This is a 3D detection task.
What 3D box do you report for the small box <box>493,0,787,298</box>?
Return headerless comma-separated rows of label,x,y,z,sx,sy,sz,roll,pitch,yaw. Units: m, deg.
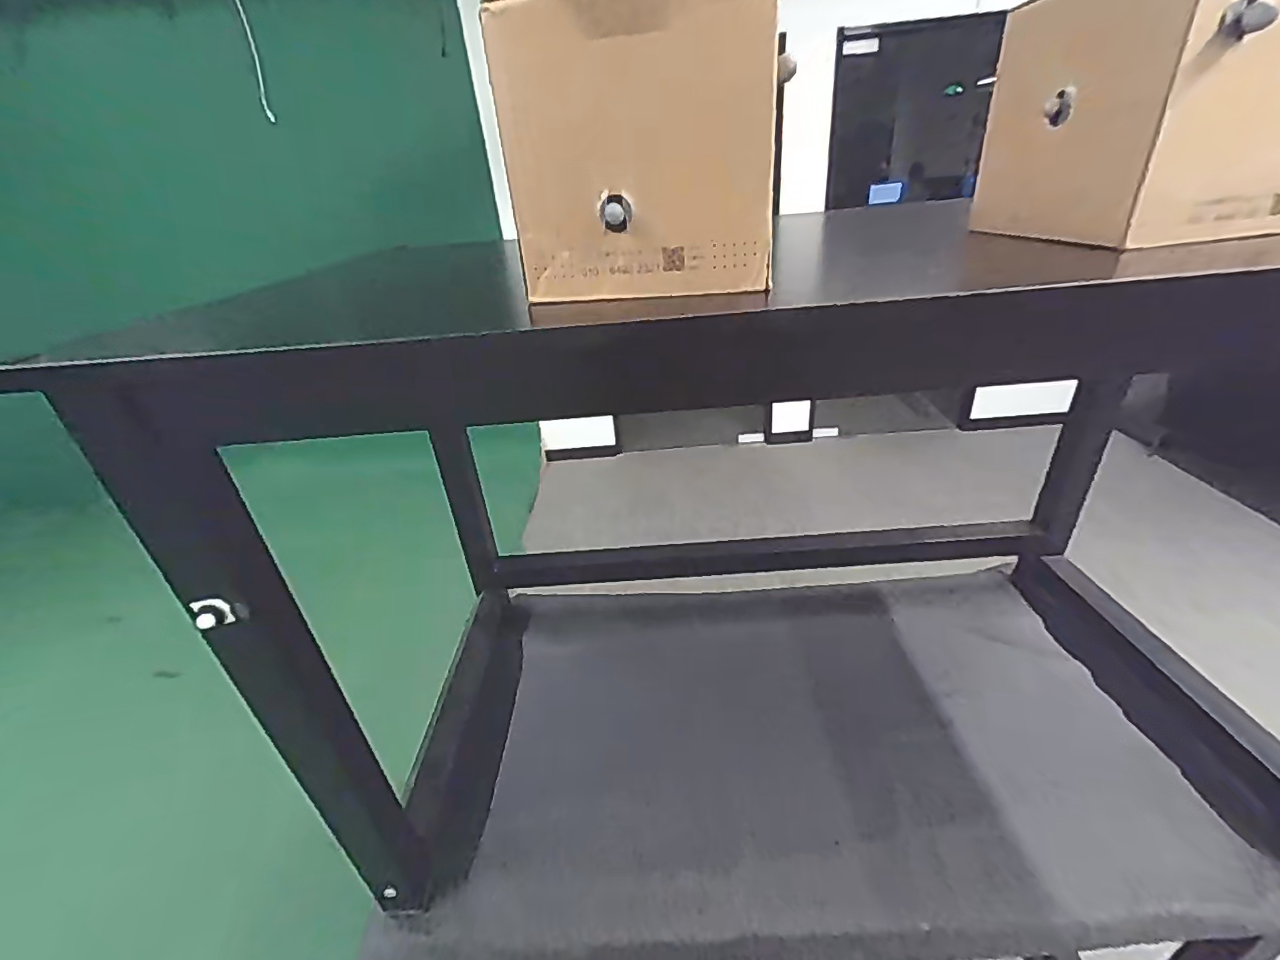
small box,0.013,-0.237,0.400,0.168,0.176,0.179,0,30,9
